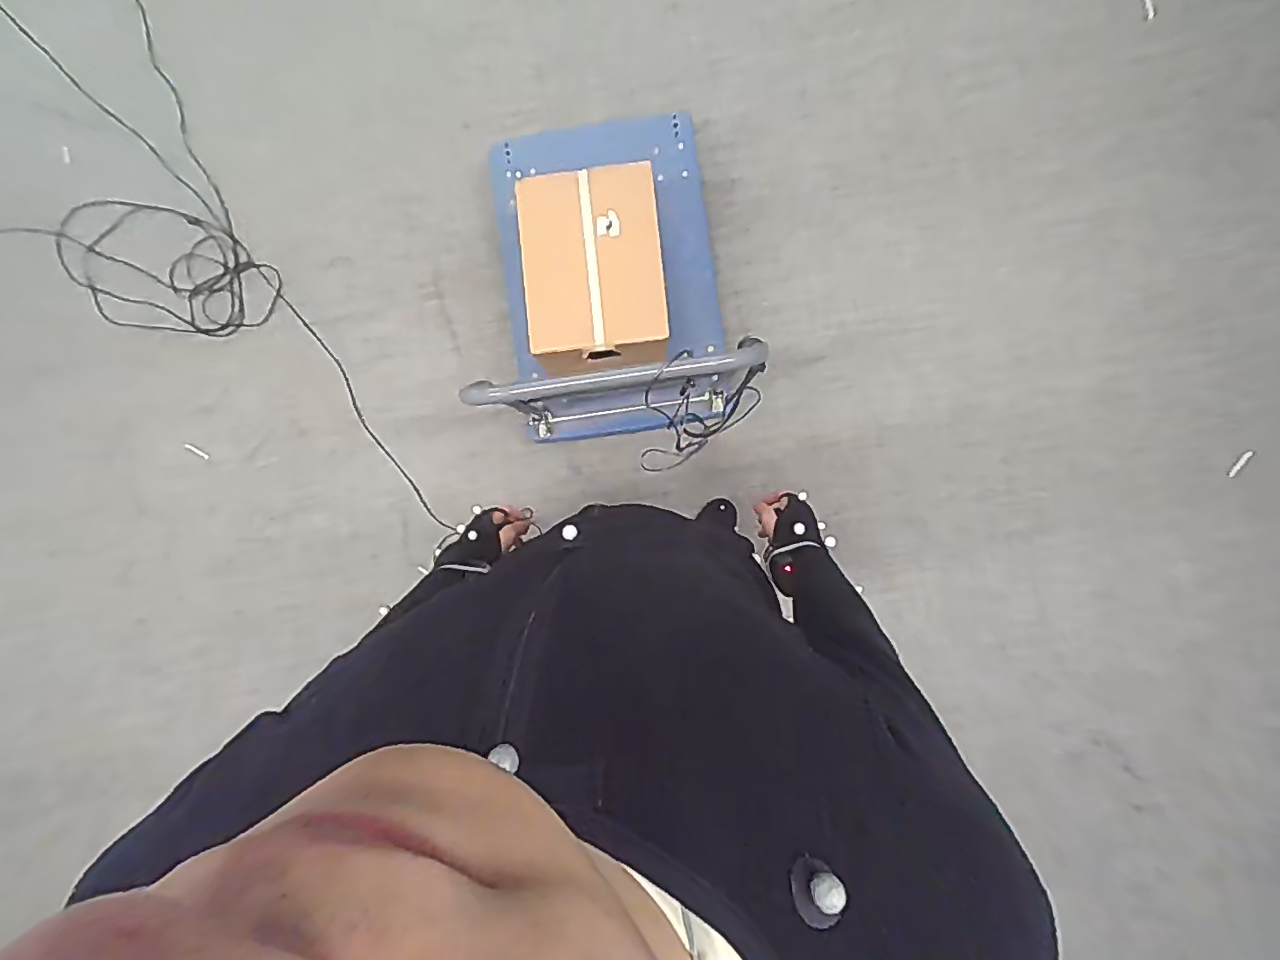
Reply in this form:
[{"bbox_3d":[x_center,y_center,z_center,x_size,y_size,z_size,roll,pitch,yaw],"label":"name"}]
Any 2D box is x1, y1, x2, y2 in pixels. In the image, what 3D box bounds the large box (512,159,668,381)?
[{"bbox_3d":[-0.104,-0.490,1.336,0.320,0.320,0.408,-6,88,2],"label":"large box"}]
